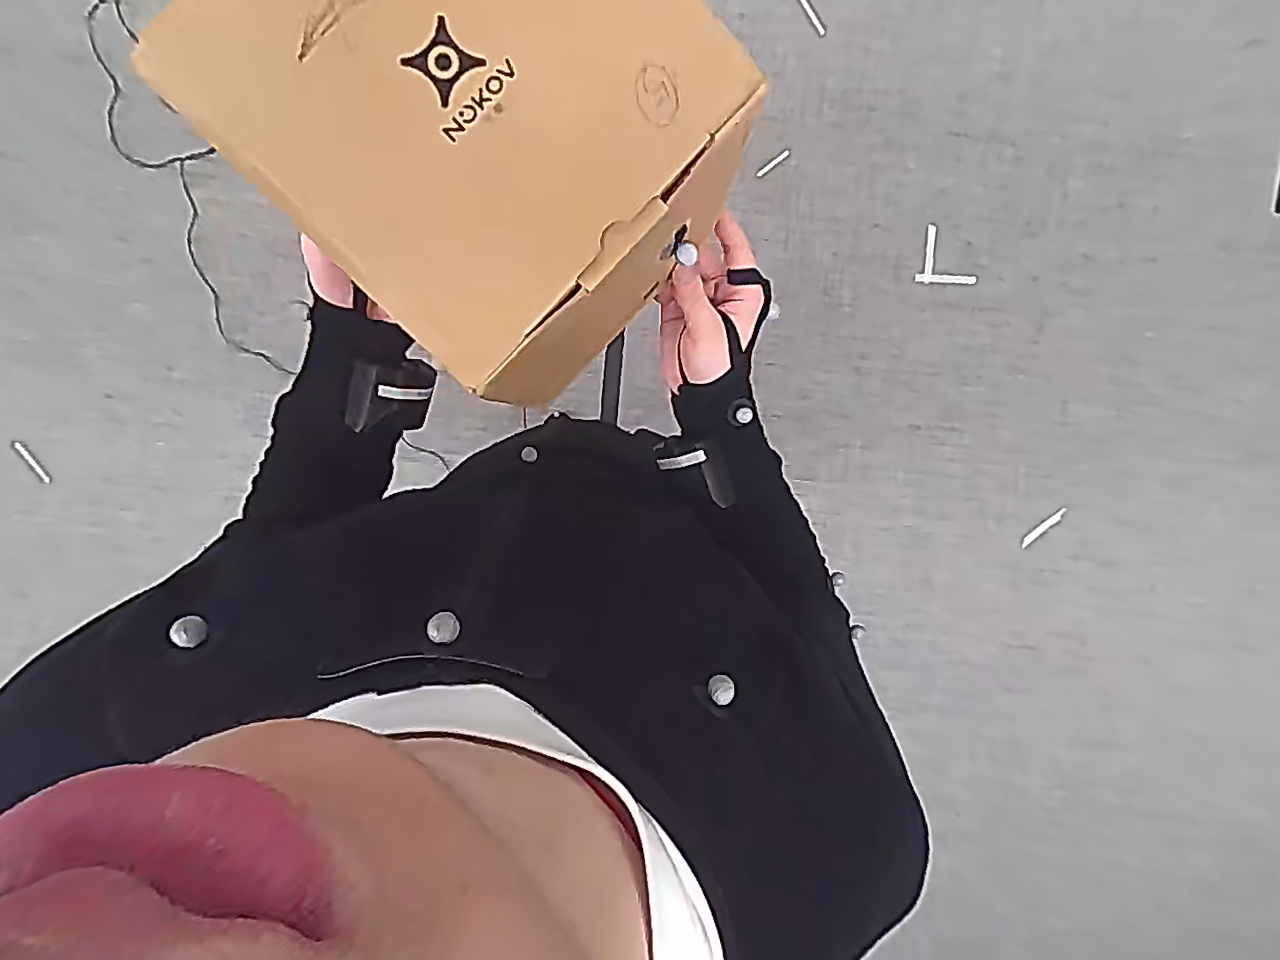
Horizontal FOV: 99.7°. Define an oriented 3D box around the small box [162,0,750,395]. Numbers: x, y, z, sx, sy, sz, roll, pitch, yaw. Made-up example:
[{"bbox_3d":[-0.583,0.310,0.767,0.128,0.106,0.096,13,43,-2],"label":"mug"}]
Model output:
[{"bbox_3d":[-0.071,-0.162,0.292,0.179,0.176,0.168,44,93,-4],"label":"small box"}]
